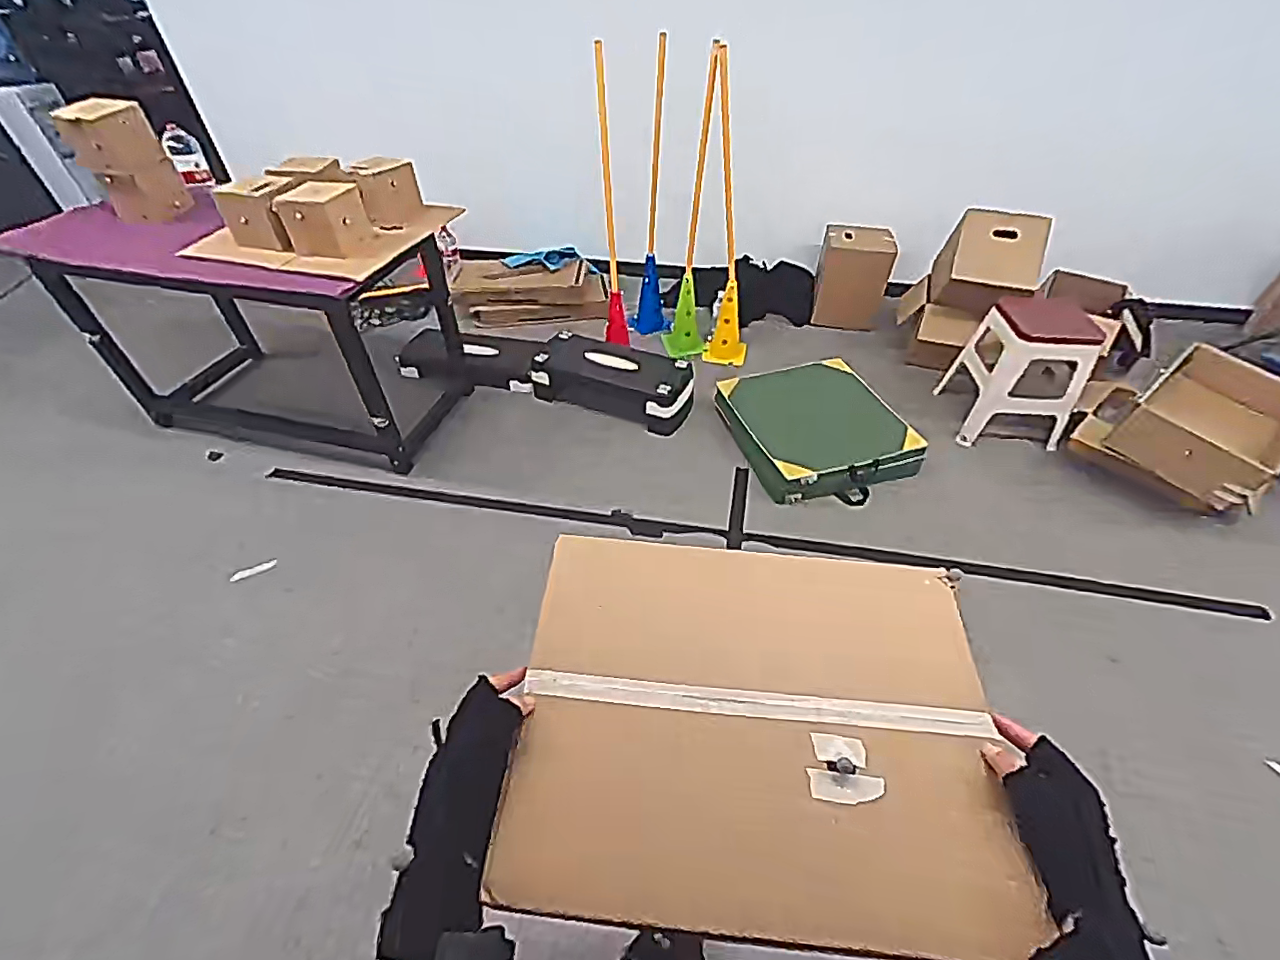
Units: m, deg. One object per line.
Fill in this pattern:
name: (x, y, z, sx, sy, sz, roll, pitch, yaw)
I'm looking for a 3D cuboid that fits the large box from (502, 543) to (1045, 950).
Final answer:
large box: (0.101, 0.294, 0.599, 0.408, 0.320, 0.320, 5, 51, 2)
